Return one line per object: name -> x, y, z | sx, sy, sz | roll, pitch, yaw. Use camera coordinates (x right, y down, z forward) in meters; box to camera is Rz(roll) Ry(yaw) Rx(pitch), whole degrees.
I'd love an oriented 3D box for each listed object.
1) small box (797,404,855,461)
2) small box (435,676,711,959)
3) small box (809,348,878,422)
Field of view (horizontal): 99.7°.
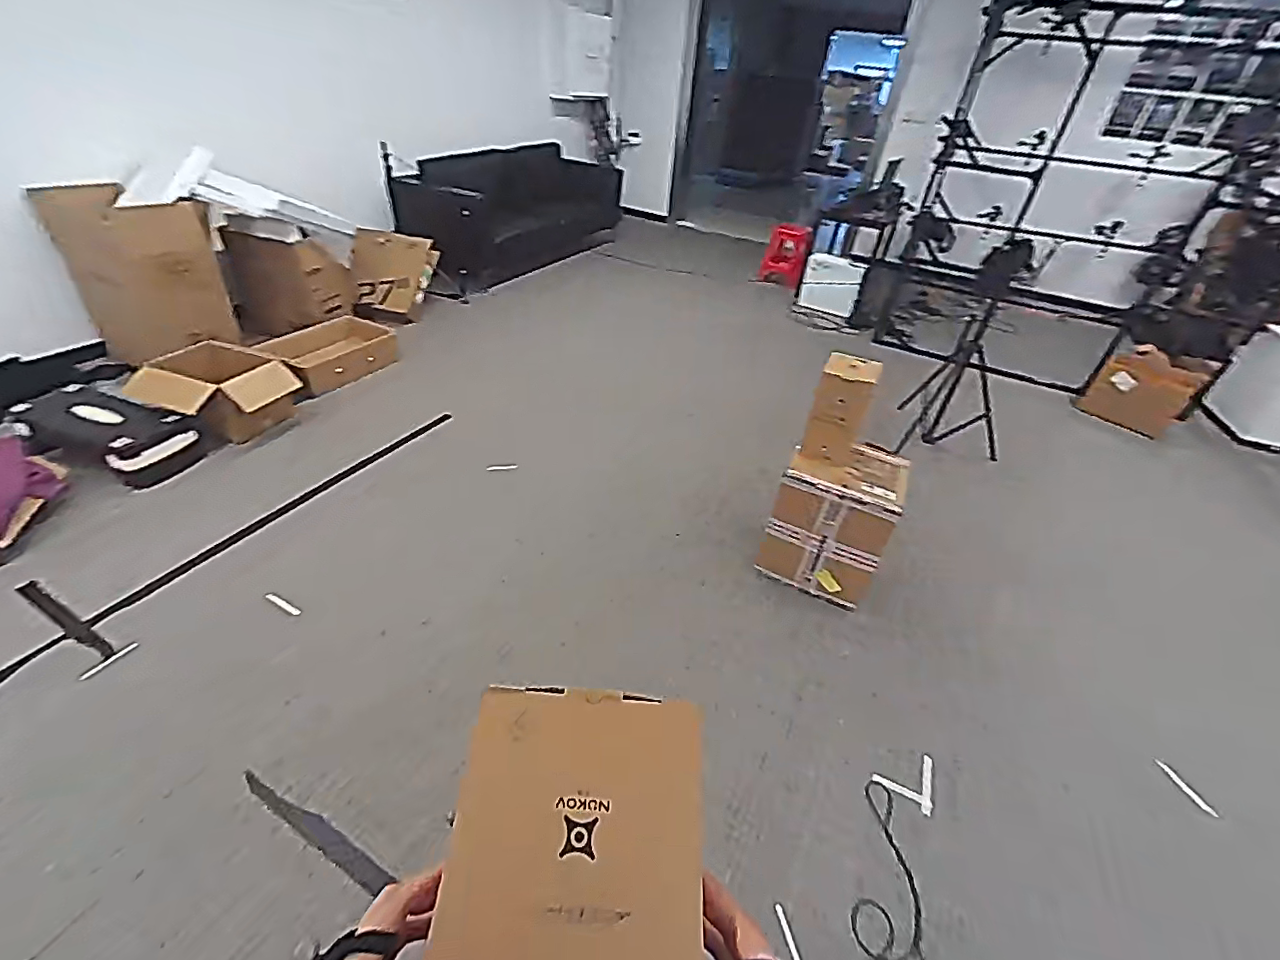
small box -> 0.668, -0.195, 1.921 | 0.168, 0.176, 0.179 | 18, 41, 19
small box -> -0.041, 0.274, 0.428 | 0.168, 0.176, 0.179 | 6, 55, -2
small box -> 0.676, -0.318, 1.810 | 0.168, 0.176, 0.179 | 19, 42, 20
